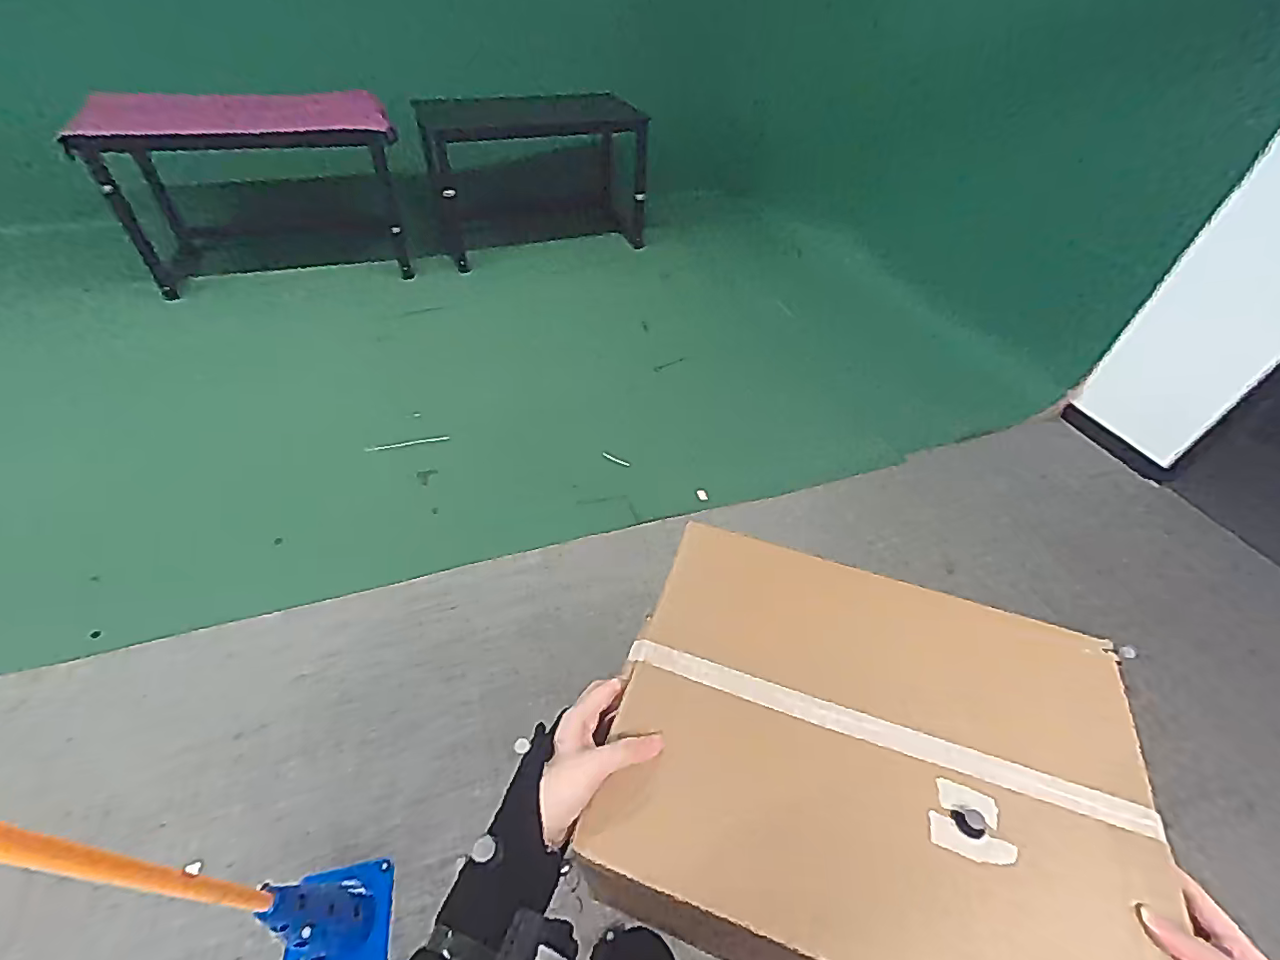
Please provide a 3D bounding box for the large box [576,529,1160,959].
[{"bbox_3d":[0.176,0.306,0.561,0.408,0.320,0.320,16,49,10],"label":"large box"}]

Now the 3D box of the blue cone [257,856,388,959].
[{"bbox_3d":[-0.624,0.800,1.017,0.193,0.380,0.192,-4,45,-10],"label":"blue cone"}]
